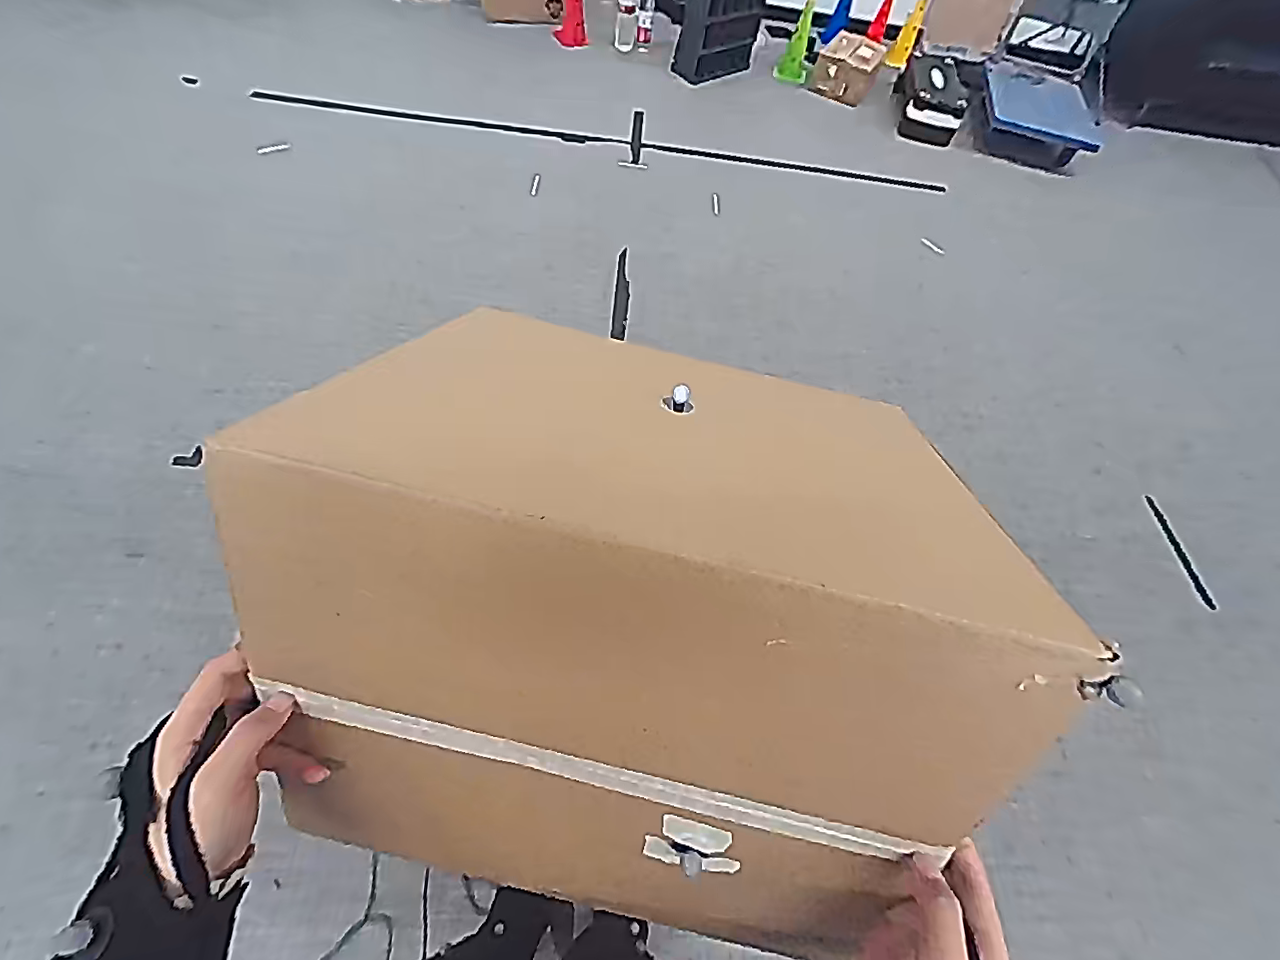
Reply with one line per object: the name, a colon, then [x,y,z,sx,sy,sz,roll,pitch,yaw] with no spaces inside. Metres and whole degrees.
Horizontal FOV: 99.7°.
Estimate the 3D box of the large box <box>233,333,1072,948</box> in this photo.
large box: [-0.007,0.093,0.448,0.408,0.320,0.320,12,30,1]
